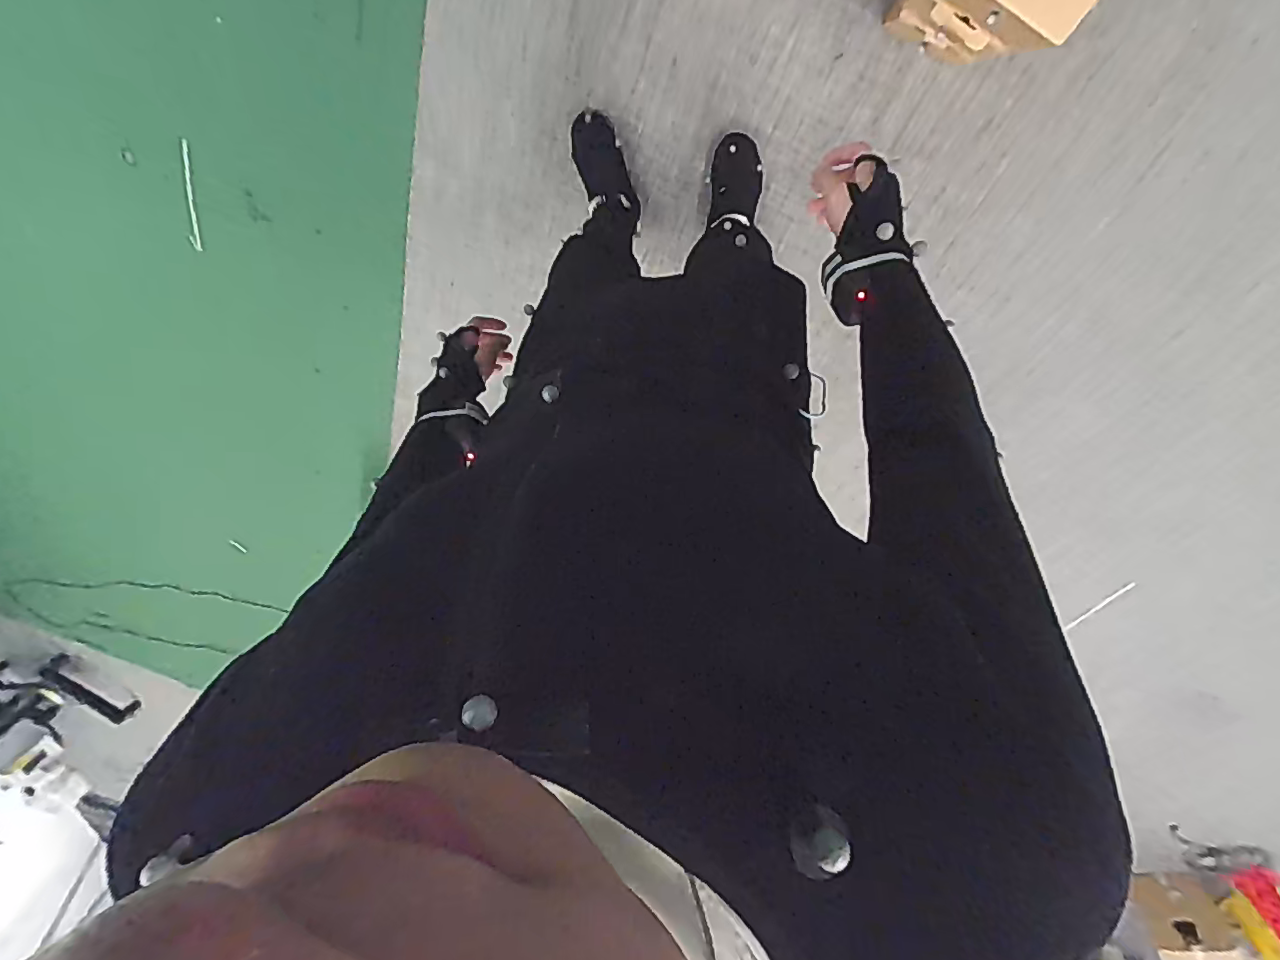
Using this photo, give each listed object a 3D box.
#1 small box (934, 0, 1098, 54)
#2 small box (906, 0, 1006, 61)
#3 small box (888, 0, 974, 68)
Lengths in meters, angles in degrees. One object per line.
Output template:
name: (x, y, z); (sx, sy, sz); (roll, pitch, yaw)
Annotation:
small box: (0.536, -0.713, 0.733); (0.179, 0.176, 0.168); (28, 127, -8)
small box: (0.559, -0.811, 0.862); (0.168, 0.176, 0.179); (29, 126, -8)
small box: (0.585, -0.899, 0.999); (0.168, 0.176, 0.179); (25, 128, -6)
